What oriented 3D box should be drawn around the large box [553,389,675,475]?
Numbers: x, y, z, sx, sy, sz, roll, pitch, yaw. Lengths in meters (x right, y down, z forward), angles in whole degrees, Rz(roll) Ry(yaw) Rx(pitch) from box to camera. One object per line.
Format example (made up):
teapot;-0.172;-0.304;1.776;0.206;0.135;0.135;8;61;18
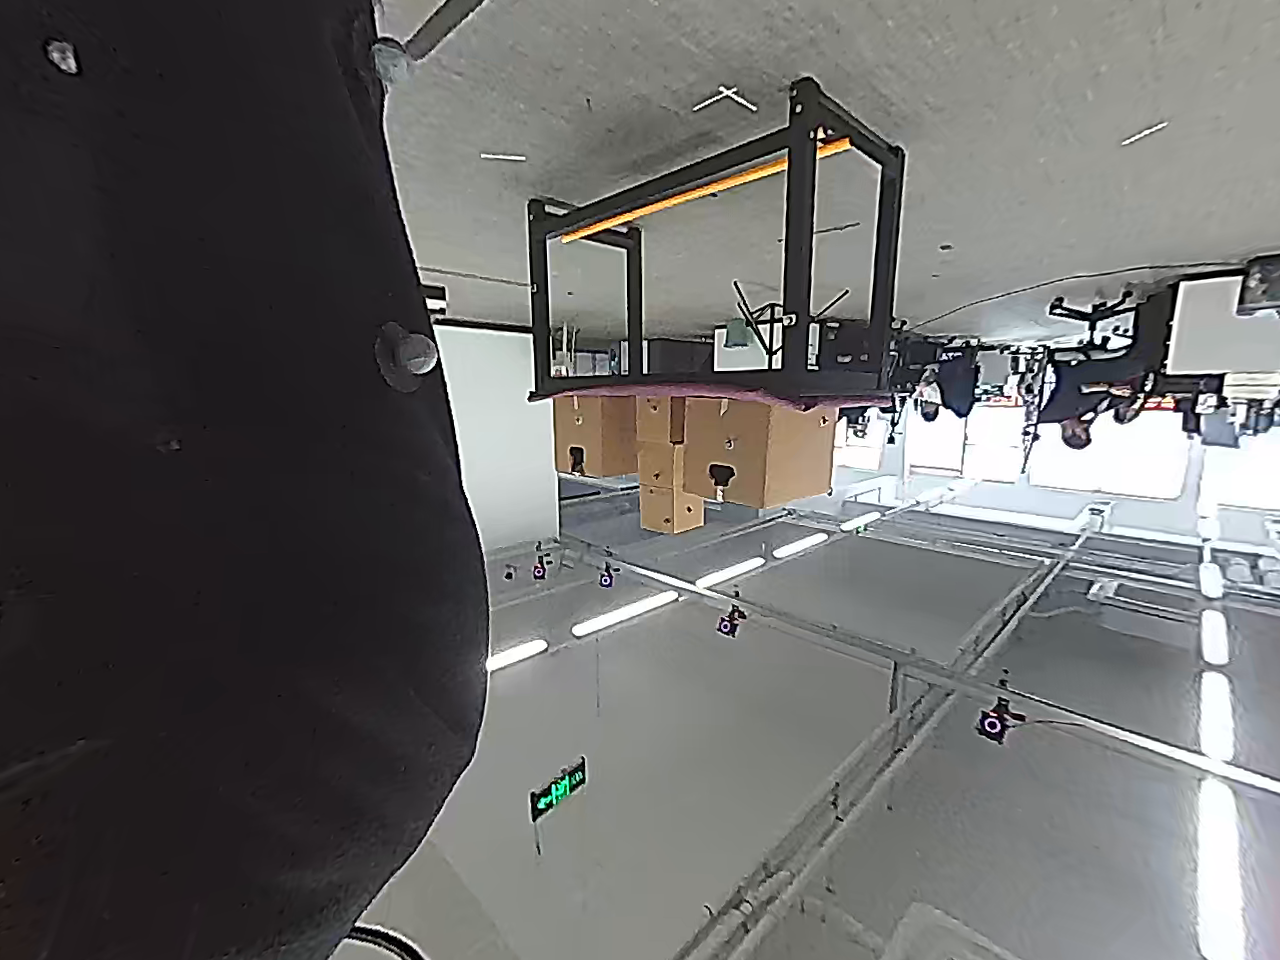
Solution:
large box;-0.105;-0.208;2.216;0.408;0.320;0.320;-11;-165;-43
